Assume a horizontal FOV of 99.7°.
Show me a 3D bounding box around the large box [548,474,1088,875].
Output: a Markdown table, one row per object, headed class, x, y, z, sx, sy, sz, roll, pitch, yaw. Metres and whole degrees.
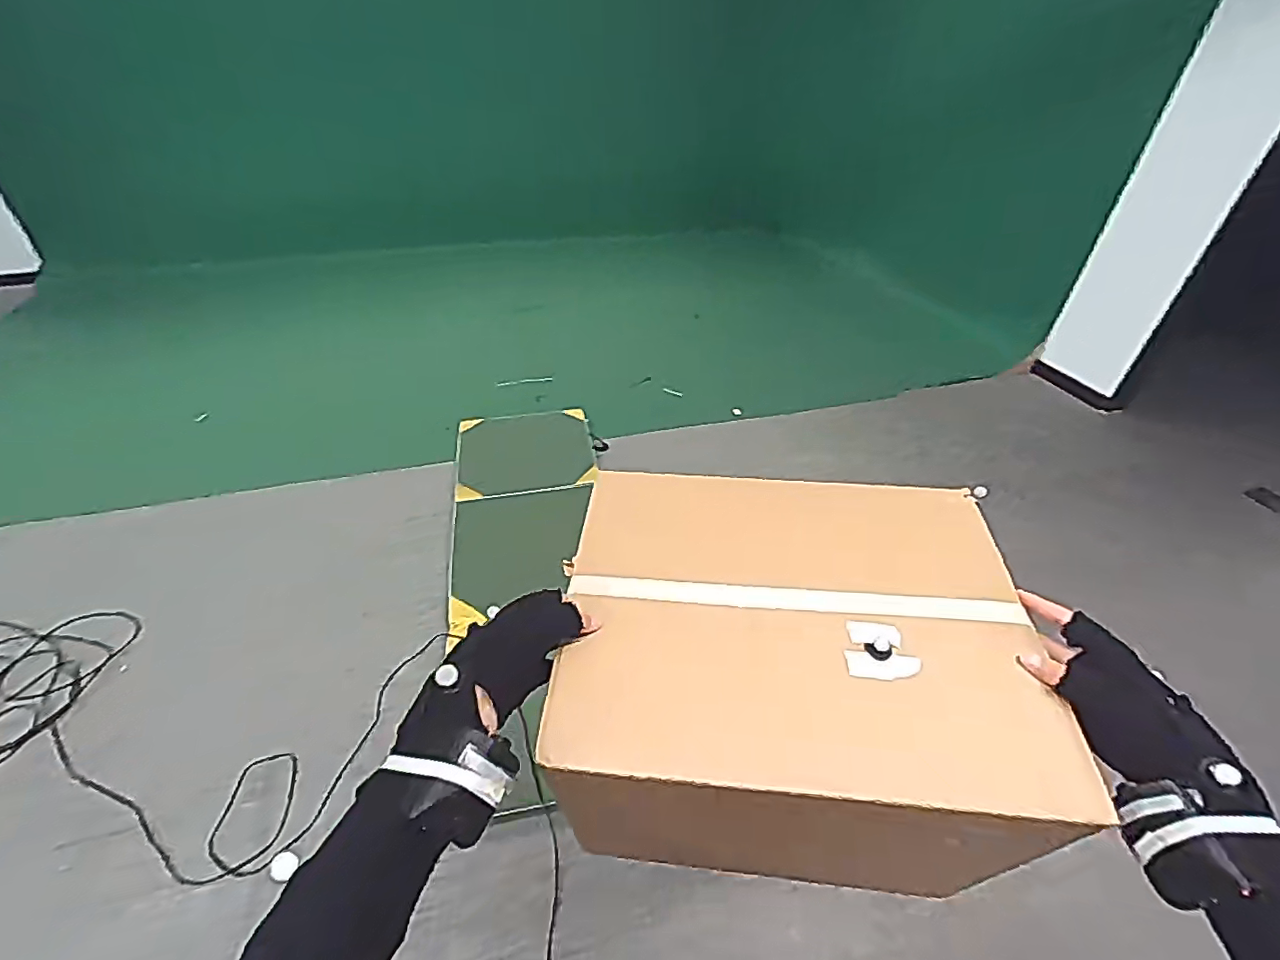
| class | x | y | z | sx | sy | sz | roll | pitch | yaw |
| --- | --- | --- | --- | --- | --- | --- | --- | --- | --- |
| large box | 0.137 | 0.214 | 0.606 | 0.408 | 0.320 | 0.320 | 3 | 46 | 4 |
